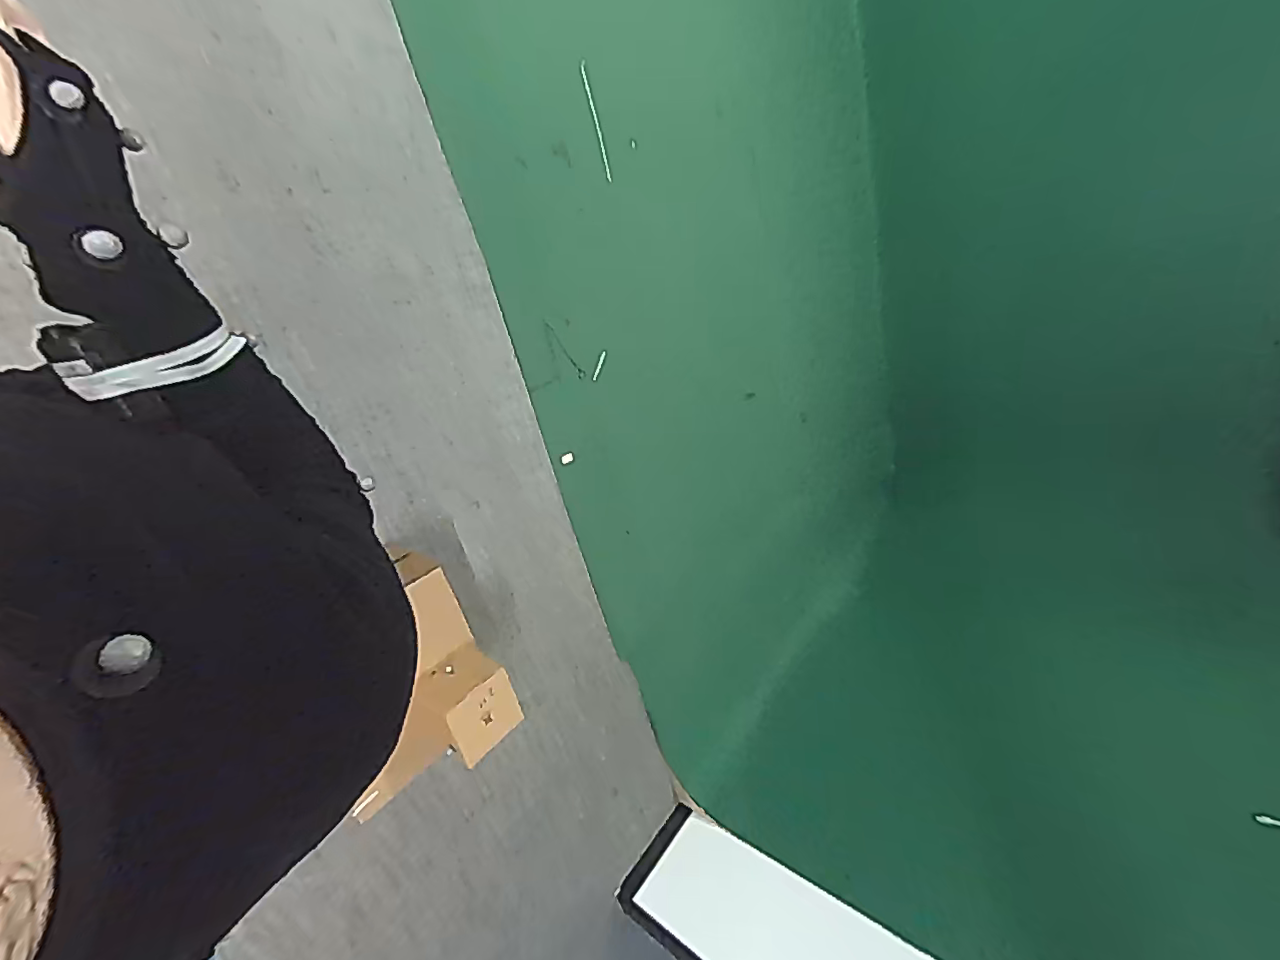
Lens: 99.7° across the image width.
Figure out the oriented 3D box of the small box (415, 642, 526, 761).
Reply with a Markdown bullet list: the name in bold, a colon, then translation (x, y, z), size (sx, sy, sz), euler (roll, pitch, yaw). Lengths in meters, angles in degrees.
- **small box**: translation (-0.412, 0.528, 1.314), size (0.168, 0.176, 0.179), euler (-35, 122, -40)
